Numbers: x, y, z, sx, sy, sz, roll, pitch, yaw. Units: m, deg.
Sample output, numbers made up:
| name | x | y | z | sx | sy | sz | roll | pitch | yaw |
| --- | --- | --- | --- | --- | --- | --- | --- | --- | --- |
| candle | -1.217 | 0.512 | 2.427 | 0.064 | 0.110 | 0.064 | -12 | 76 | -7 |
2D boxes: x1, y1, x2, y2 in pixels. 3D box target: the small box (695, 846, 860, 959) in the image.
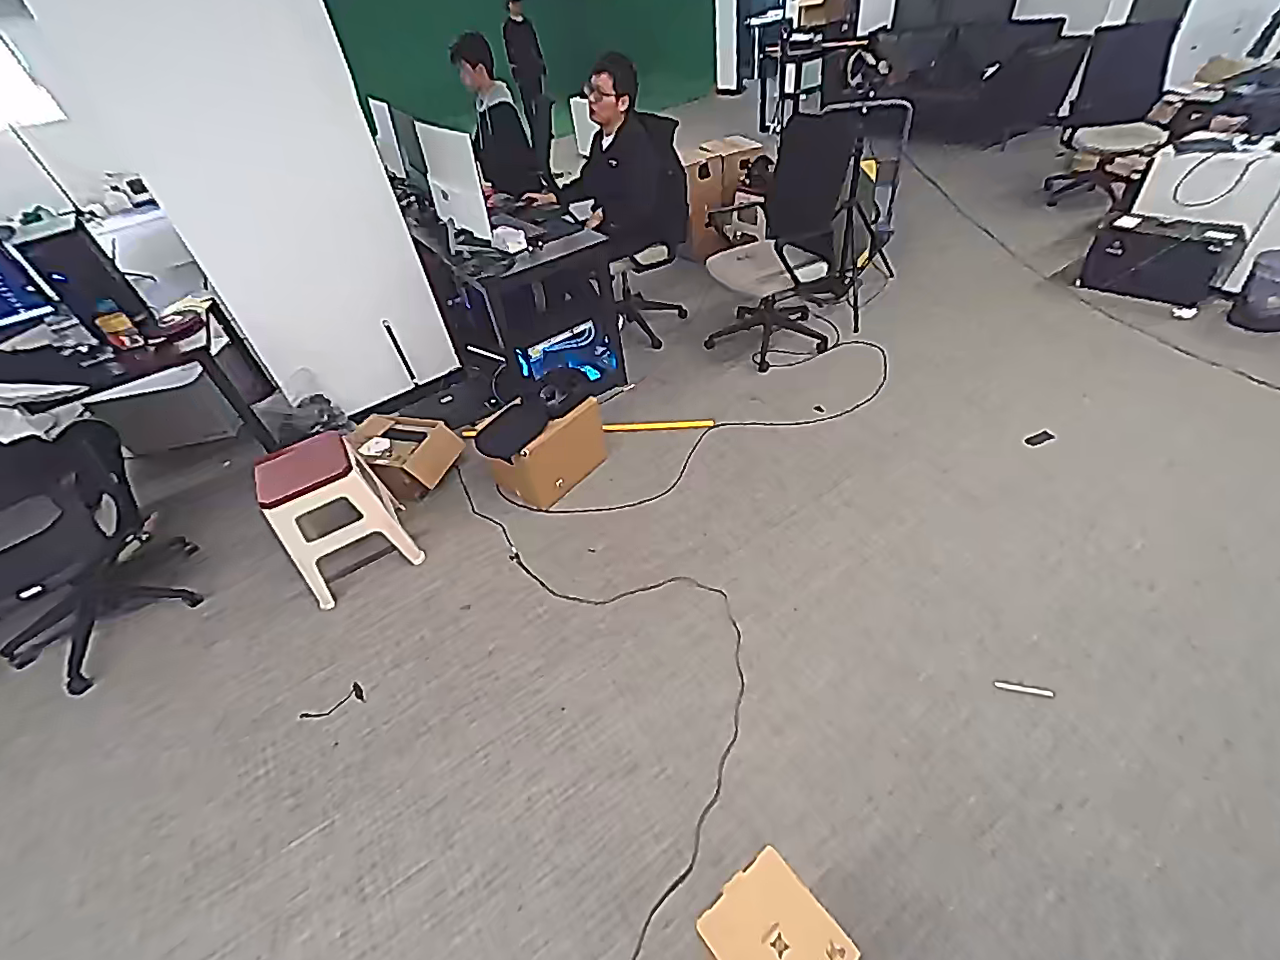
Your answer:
| name | x | y | z | sx | sy | sz | roll | pitch | yaw |
| --- | --- | --- | --- | --- | --- | --- | --- | --- | --- |
| small box | 0.203 | 0.723 | 0.834 | 0.168 | 0.176 | 0.179 | -32 | 47 | -23 |
